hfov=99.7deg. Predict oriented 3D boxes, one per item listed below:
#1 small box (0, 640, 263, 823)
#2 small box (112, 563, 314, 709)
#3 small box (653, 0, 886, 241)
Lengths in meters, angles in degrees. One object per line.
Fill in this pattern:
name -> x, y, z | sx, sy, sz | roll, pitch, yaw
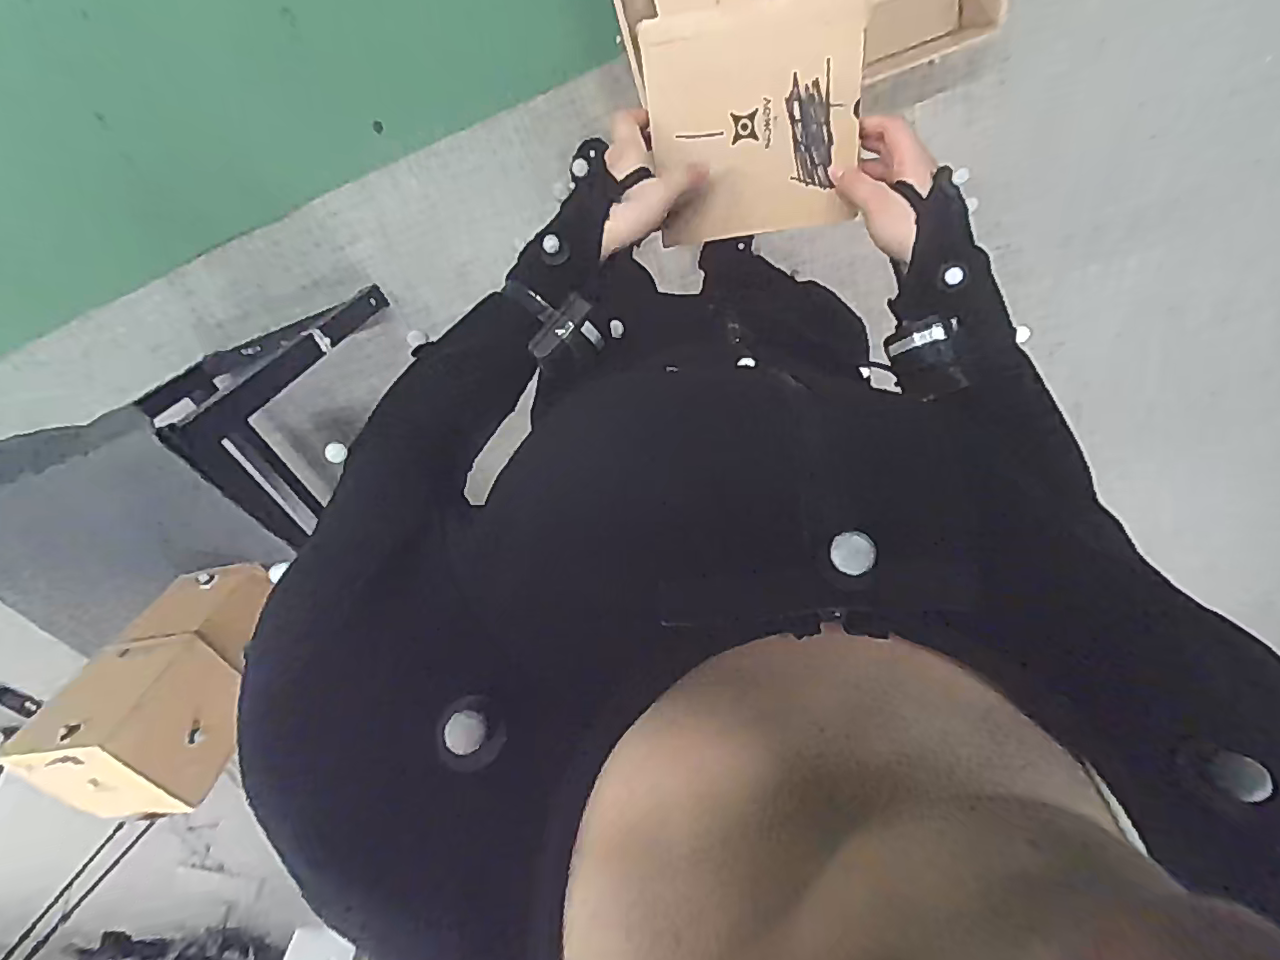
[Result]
small box -> -0.683, 0.349, 0.752 | 0.168, 0.176, 0.179 | -10, 126, 9
small box -> -0.691, 0.265, 0.895 | 0.168, 0.176, 0.179 | -13, 124, 10
small box -> 0.107, -0.334, 0.508 | 0.179, 0.176, 0.168 | -6, 120, 7
